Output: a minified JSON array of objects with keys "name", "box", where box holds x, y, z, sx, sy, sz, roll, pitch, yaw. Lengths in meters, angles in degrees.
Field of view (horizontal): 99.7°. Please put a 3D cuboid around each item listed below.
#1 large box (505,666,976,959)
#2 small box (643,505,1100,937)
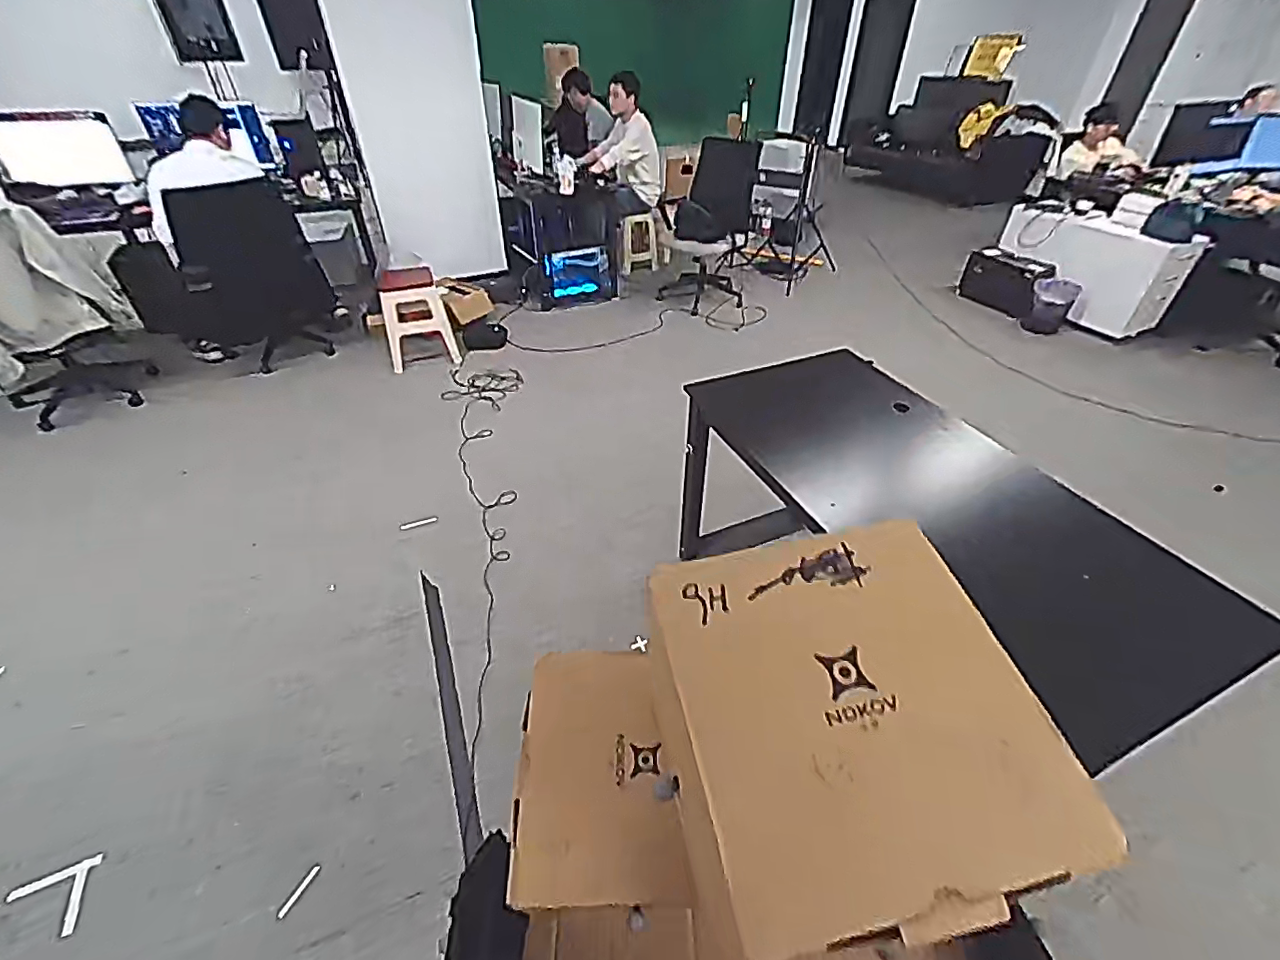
[{"name":"large box","box":[0.078,0.424,0.628,0.408,0.320,0.320,-1,50,-1]},{"name":"small box","box":[0.101,0.145,0.332,0.168,0.176,0.179,-10,52,-7]}]
